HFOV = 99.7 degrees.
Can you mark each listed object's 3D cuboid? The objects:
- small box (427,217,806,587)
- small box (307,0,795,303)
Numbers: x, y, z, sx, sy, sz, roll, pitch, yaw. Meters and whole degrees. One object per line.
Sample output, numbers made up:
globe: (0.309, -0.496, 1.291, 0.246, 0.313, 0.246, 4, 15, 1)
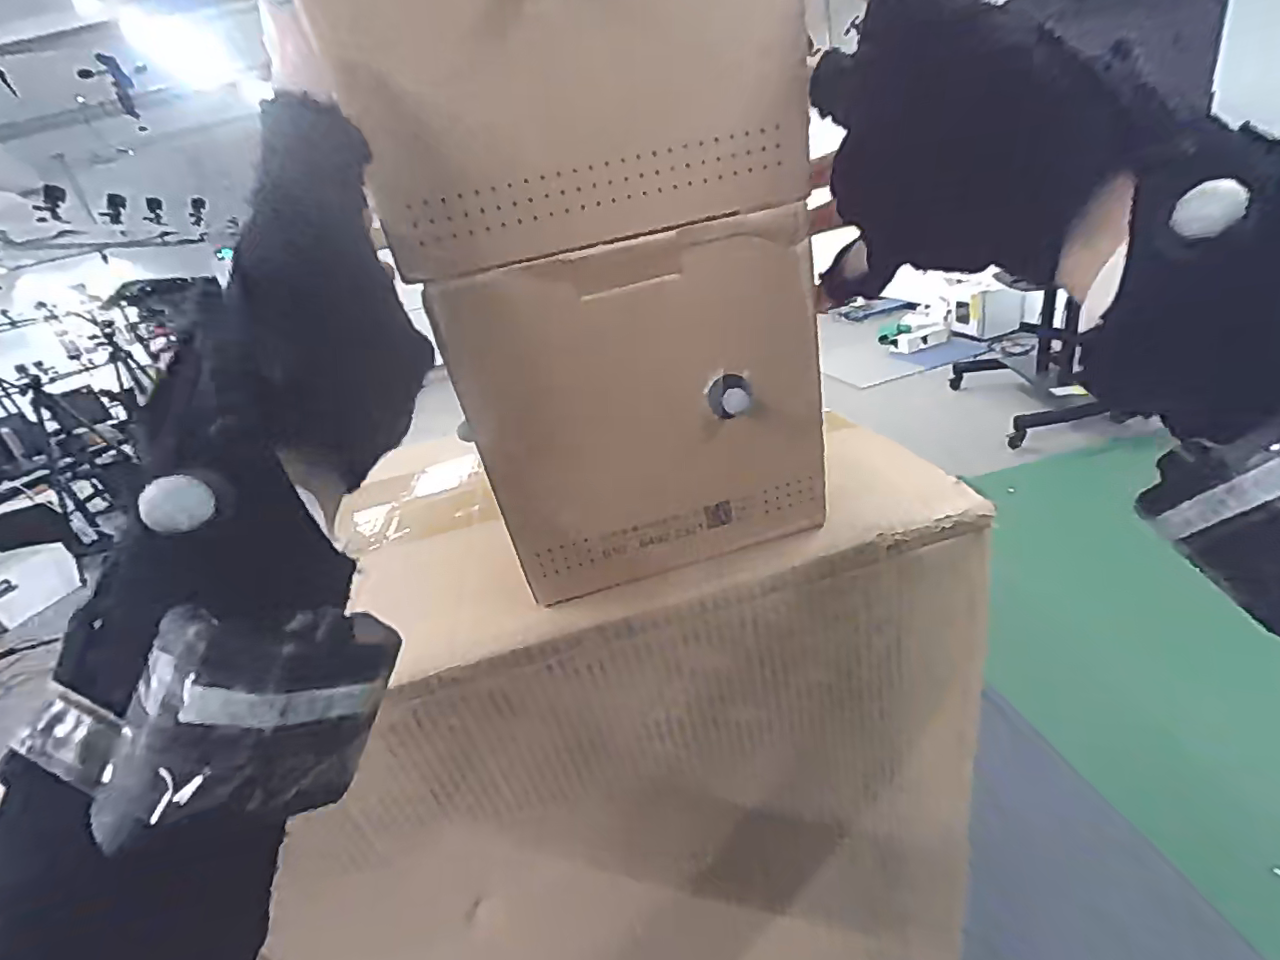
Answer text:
small box: (-0.009, -0.053, 0.335, 0.168, 0.176, 0.179, -14, 27, -5)
small box: (-0.039, -0.195, 0.257, 0.179, 0.176, 0.168, -15, 28, -8)
